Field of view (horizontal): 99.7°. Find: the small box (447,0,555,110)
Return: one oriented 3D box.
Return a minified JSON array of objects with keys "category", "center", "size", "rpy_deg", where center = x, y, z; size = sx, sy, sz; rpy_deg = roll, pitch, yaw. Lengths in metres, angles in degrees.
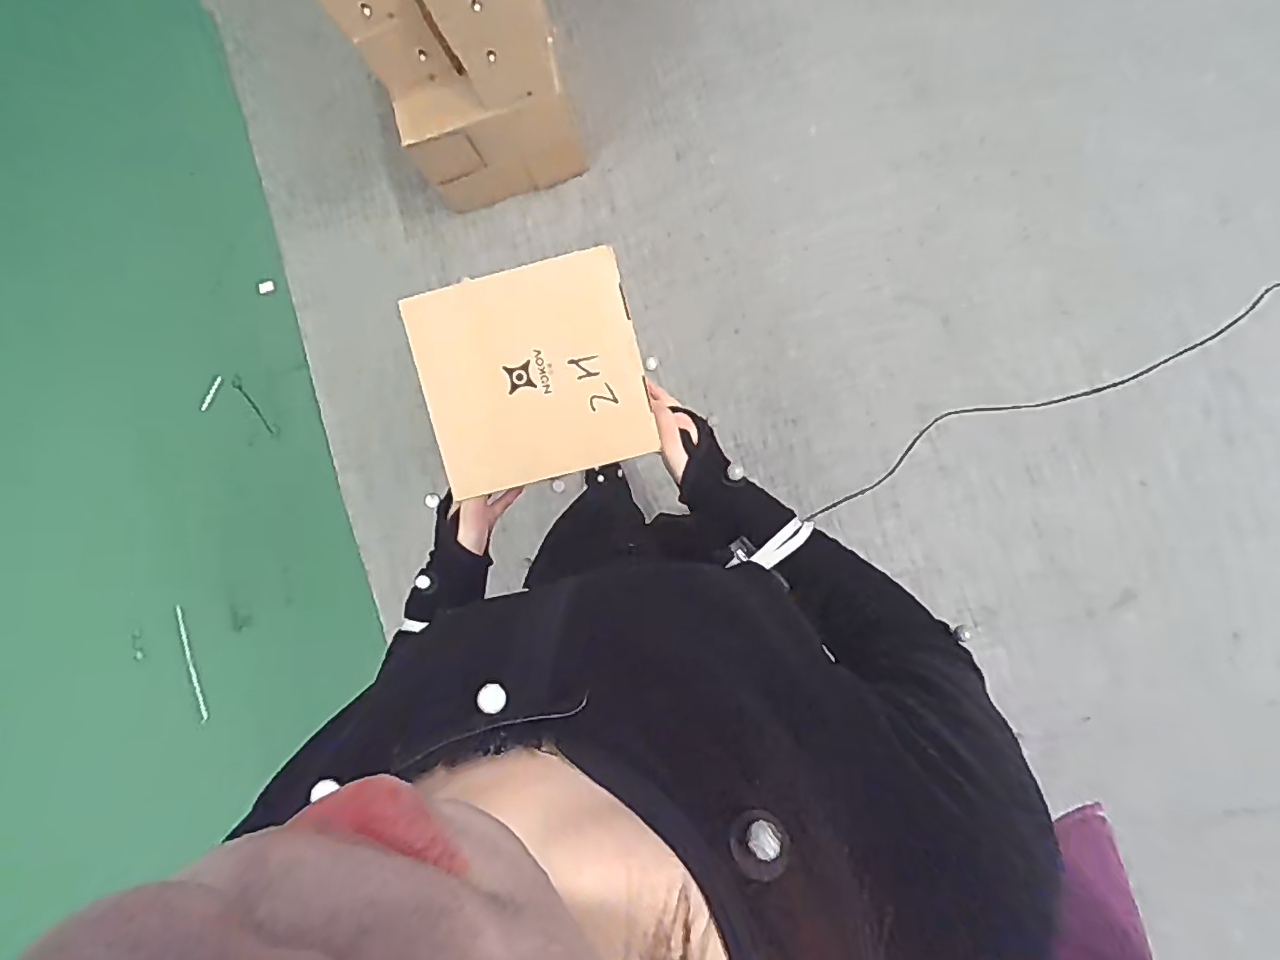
[{"category":"small box","center":[-0.295,-0.951,1.161],"size":[0.168,0.176,0.179],"rpy_deg":[-12,85,7]}]

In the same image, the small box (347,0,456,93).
[{"category":"small box","center":[-0.531,-1.006,1.199],"size":[0.168,0.176,0.179],"rpy_deg":[-13,85,7]}]

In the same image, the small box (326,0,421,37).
[{"category":"small box","center":[-0.549,-1.017,1.036],"size":[0.168,0.176,0.179],"rpy_deg":[-14,88,7]}]

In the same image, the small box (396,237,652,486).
[{"category":"small box","center":[-0.089,-0.097,0.505],"size":[0.179,0.176,0.168],"rpy_deg":[-13,95,2]}]
